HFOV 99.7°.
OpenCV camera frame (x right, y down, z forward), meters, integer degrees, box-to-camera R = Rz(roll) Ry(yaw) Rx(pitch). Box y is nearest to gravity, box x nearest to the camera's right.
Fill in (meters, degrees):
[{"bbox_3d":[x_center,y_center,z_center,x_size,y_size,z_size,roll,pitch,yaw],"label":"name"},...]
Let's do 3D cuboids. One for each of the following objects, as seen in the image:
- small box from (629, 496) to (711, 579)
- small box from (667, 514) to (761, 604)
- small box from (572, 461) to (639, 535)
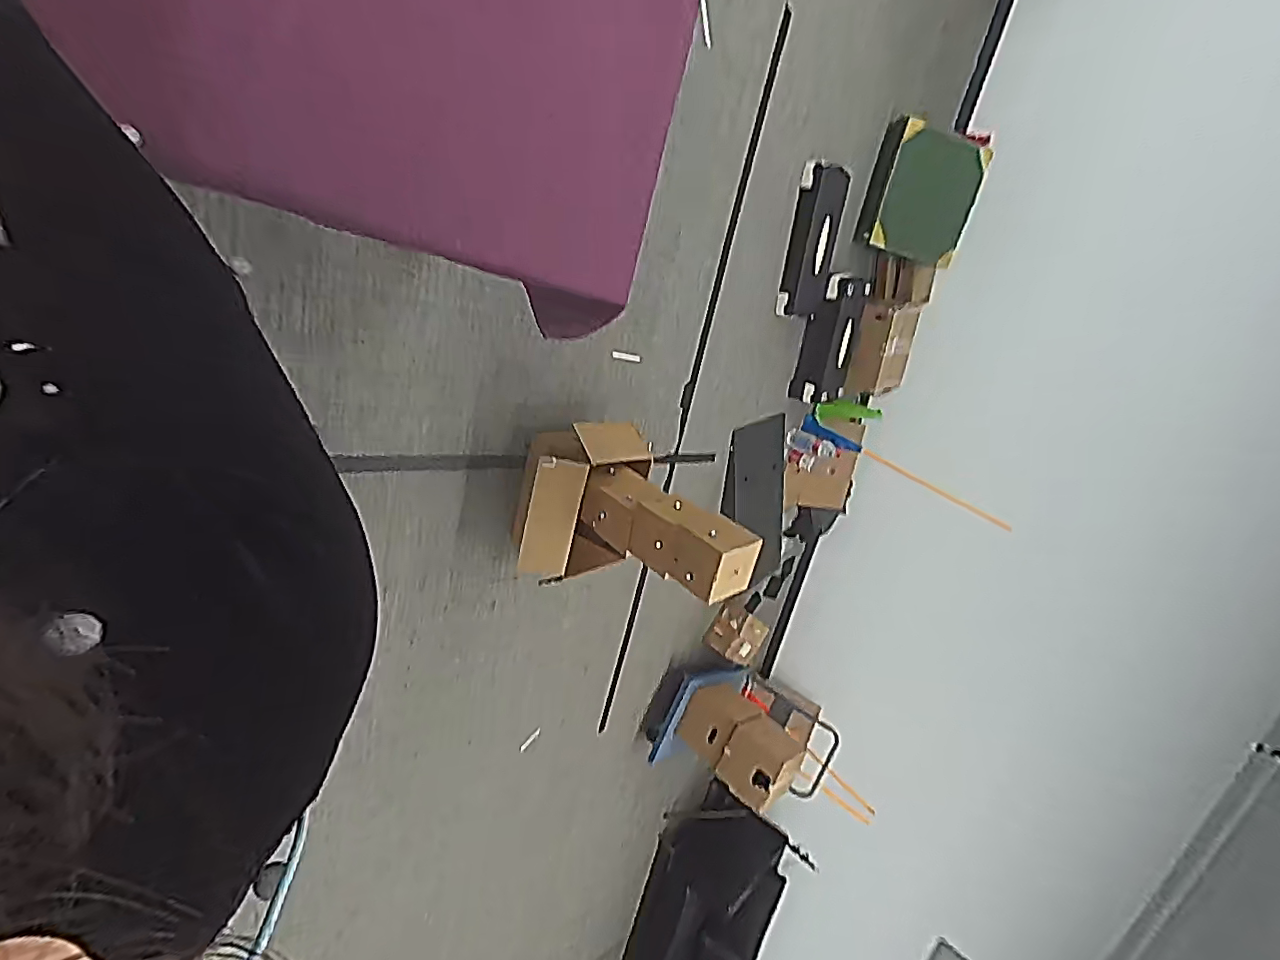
[{"bbox_3d":[0.088,0.160,1.606,0.168,0.176,0.179,-11,122,-41],"label":"small box"},{"bbox_3d":[0.199,0.211,1.496,0.179,0.176,0.168,-10,122,-42],"label":"small box"},{"bbox_3d":[-0.120,0.051,1.838,0.168,0.176,0.179,-26,132,-34],"label":"small box"}]
